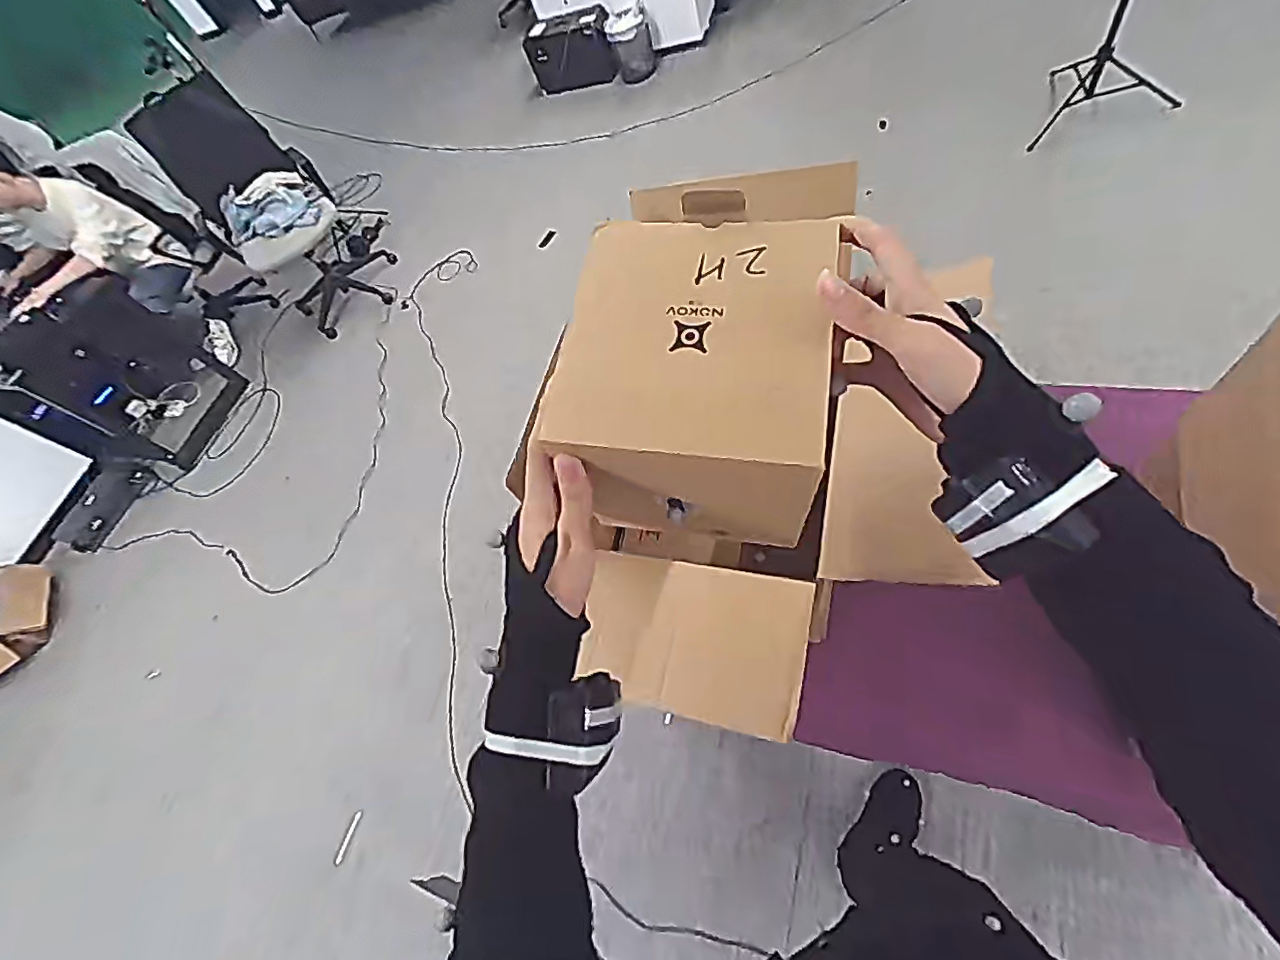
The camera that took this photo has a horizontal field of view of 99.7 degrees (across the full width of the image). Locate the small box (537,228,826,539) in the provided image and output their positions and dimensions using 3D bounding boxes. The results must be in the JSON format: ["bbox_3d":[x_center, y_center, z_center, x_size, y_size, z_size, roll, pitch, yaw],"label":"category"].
[{"bbox_3d":[0.043,-0.064,0.418,0.168,0.176,0.179,7,69,13],"label":"small box"}]
